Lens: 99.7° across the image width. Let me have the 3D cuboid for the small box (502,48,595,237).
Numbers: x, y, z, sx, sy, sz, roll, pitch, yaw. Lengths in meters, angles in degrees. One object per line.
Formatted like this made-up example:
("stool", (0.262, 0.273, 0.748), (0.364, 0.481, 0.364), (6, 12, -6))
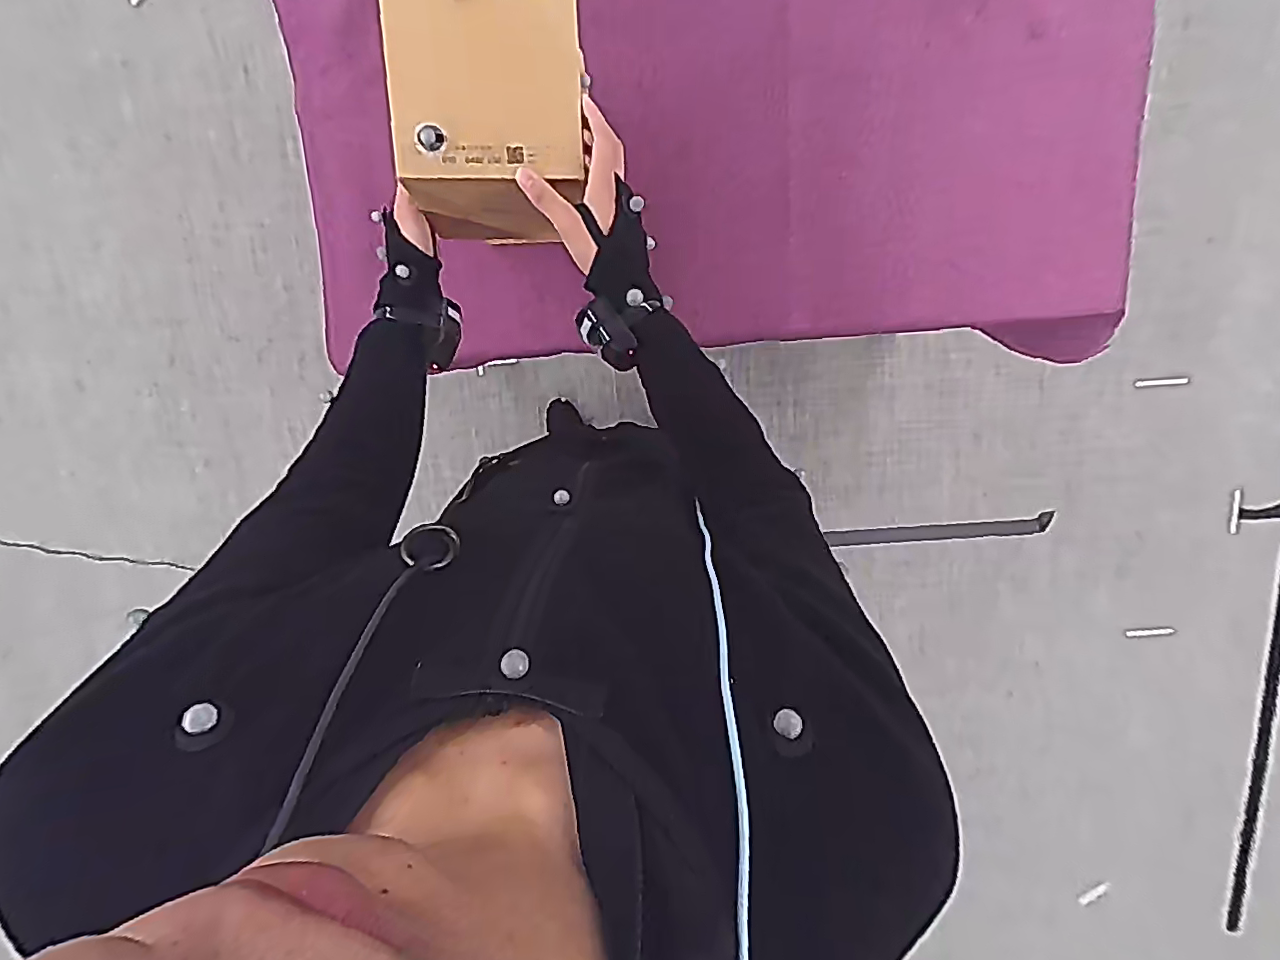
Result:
("small box", (-0.149, -0.430, 0.719), (0.168, 0.176, 0.179), (-2, 101, -1))

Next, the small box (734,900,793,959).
("small box", (0.427, 1.619, 1.891), (0.179, 0.176, 0.168), (-6, 101, -1))

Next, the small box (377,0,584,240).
("small box", (-0.144, -0.358, 0.547), (0.168, 0.179, 0.176), (-3, 97, -7))
